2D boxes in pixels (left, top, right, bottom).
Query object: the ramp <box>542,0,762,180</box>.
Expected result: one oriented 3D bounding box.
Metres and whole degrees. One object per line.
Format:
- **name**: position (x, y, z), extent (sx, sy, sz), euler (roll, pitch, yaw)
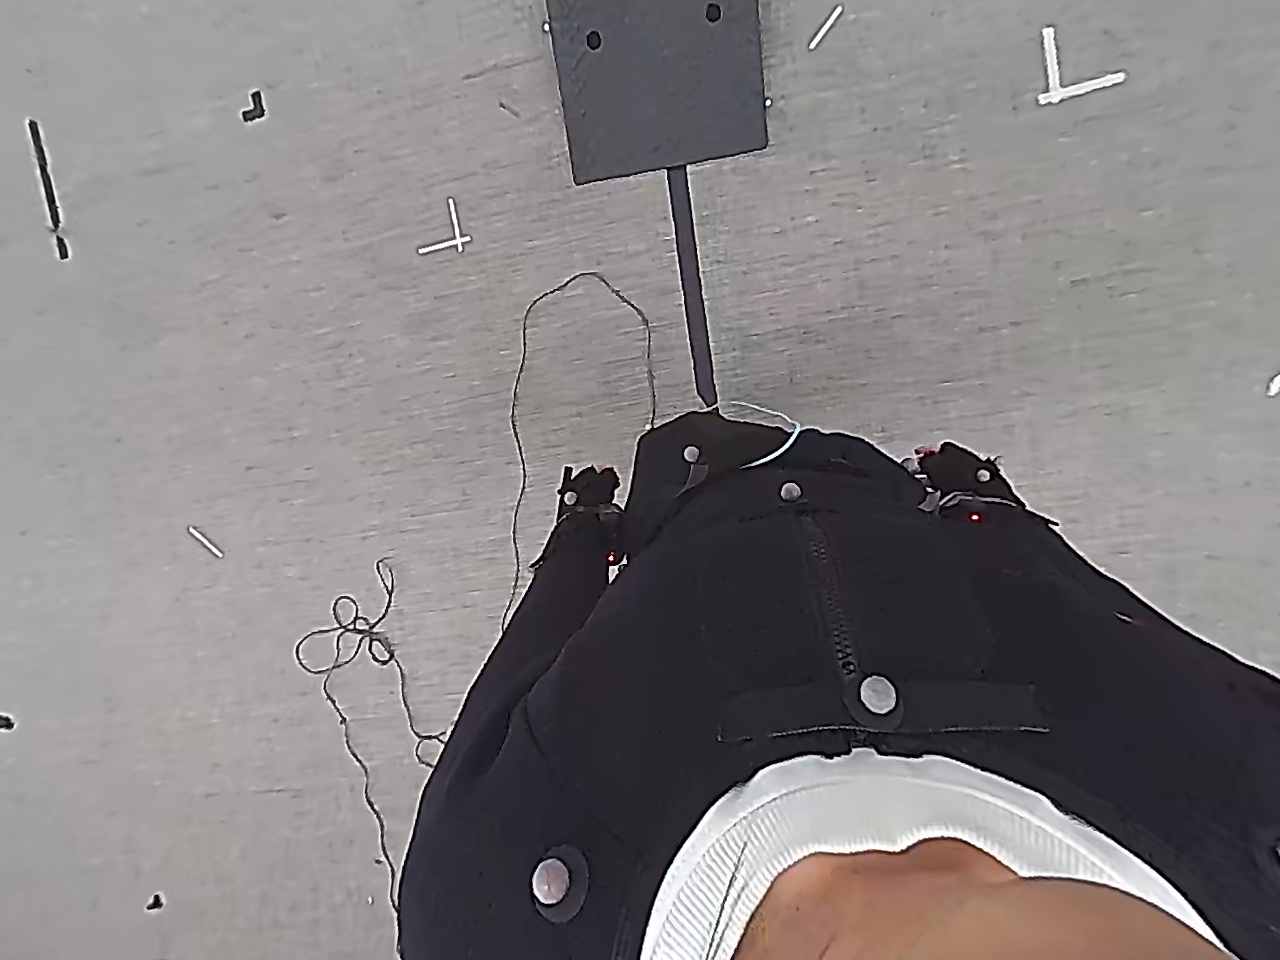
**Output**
- **ramp**: position (-0.008, -1.265, 1.212), extent (0.509, 0.206, 0.991), euler (-8, 97, 8)
